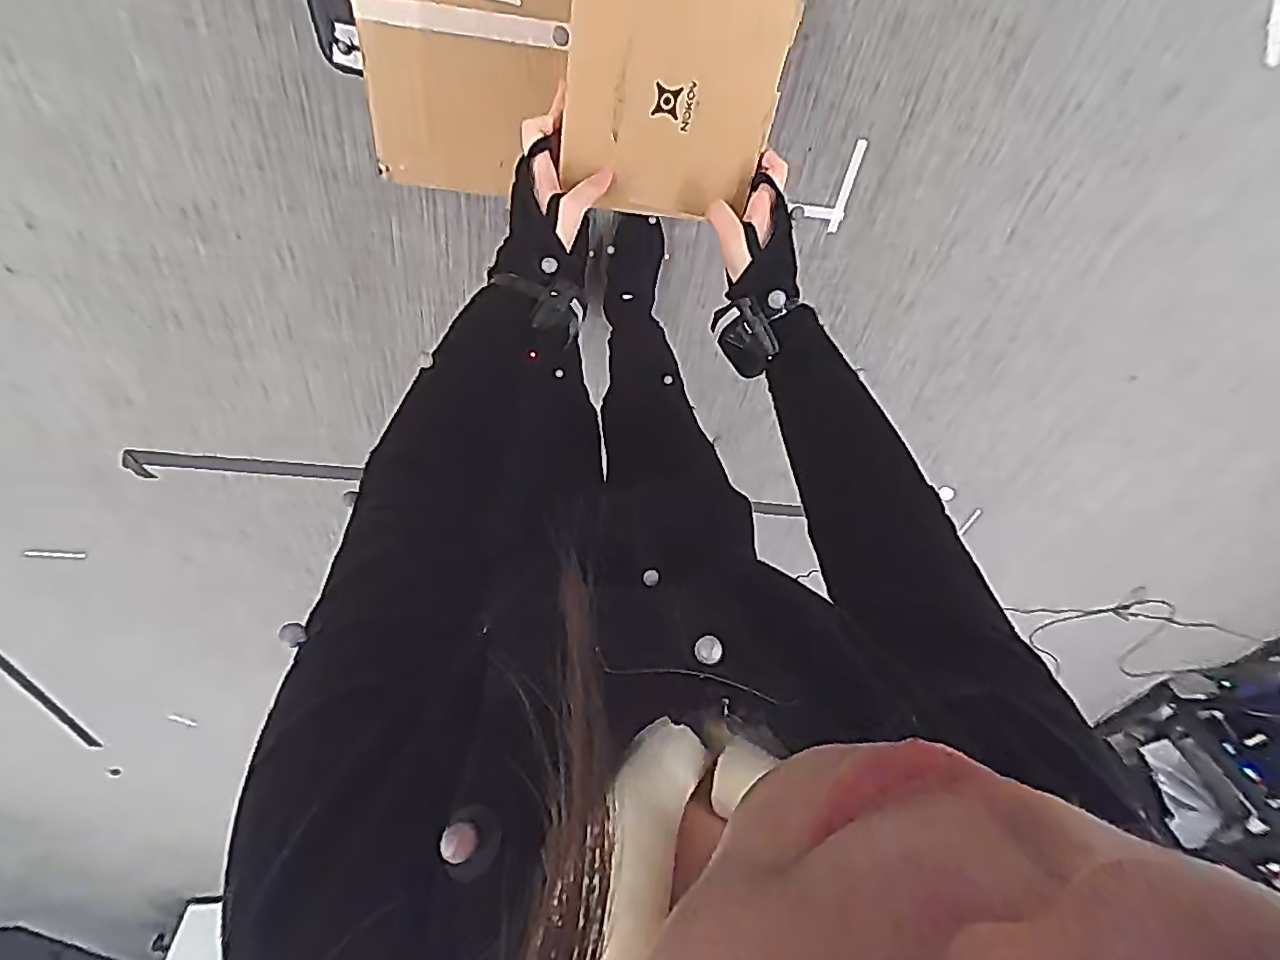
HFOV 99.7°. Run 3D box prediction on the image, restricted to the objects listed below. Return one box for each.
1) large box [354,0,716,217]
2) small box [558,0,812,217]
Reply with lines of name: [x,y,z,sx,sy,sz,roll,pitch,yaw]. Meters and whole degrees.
large box: [-0.086,-0.545,0.651,0.408,0.320,0.320,3,130,-8]
small box: [0.022,-0.366,0.494,0.179,0.176,0.168,6,131,-11]
